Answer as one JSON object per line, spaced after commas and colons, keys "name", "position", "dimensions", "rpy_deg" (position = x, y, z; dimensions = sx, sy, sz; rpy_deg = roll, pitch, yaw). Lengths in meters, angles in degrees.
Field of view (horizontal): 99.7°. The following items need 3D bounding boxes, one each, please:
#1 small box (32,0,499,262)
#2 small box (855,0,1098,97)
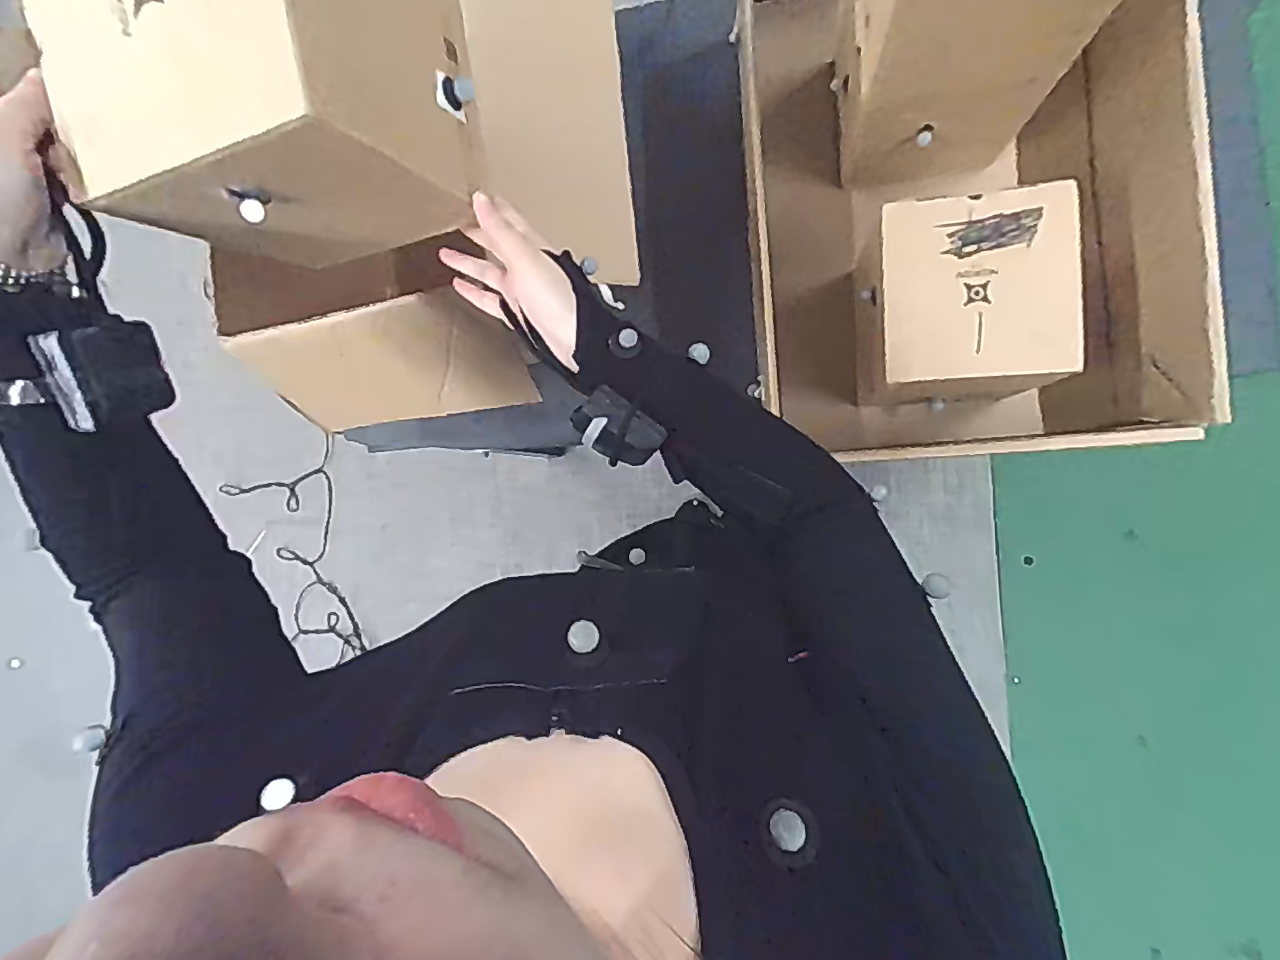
{"name": "small box", "position": [-0.219, -0.252, 0.346], "dimensions": [0.179, 0.176, 0.168], "rpy_deg": [-6, 100, 16]}
{"name": "small box", "position": [0.274, -0.445, 0.429], "dimensions": [0.179, 0.176, 0.168], "rpy_deg": [-1, 92, 11]}
